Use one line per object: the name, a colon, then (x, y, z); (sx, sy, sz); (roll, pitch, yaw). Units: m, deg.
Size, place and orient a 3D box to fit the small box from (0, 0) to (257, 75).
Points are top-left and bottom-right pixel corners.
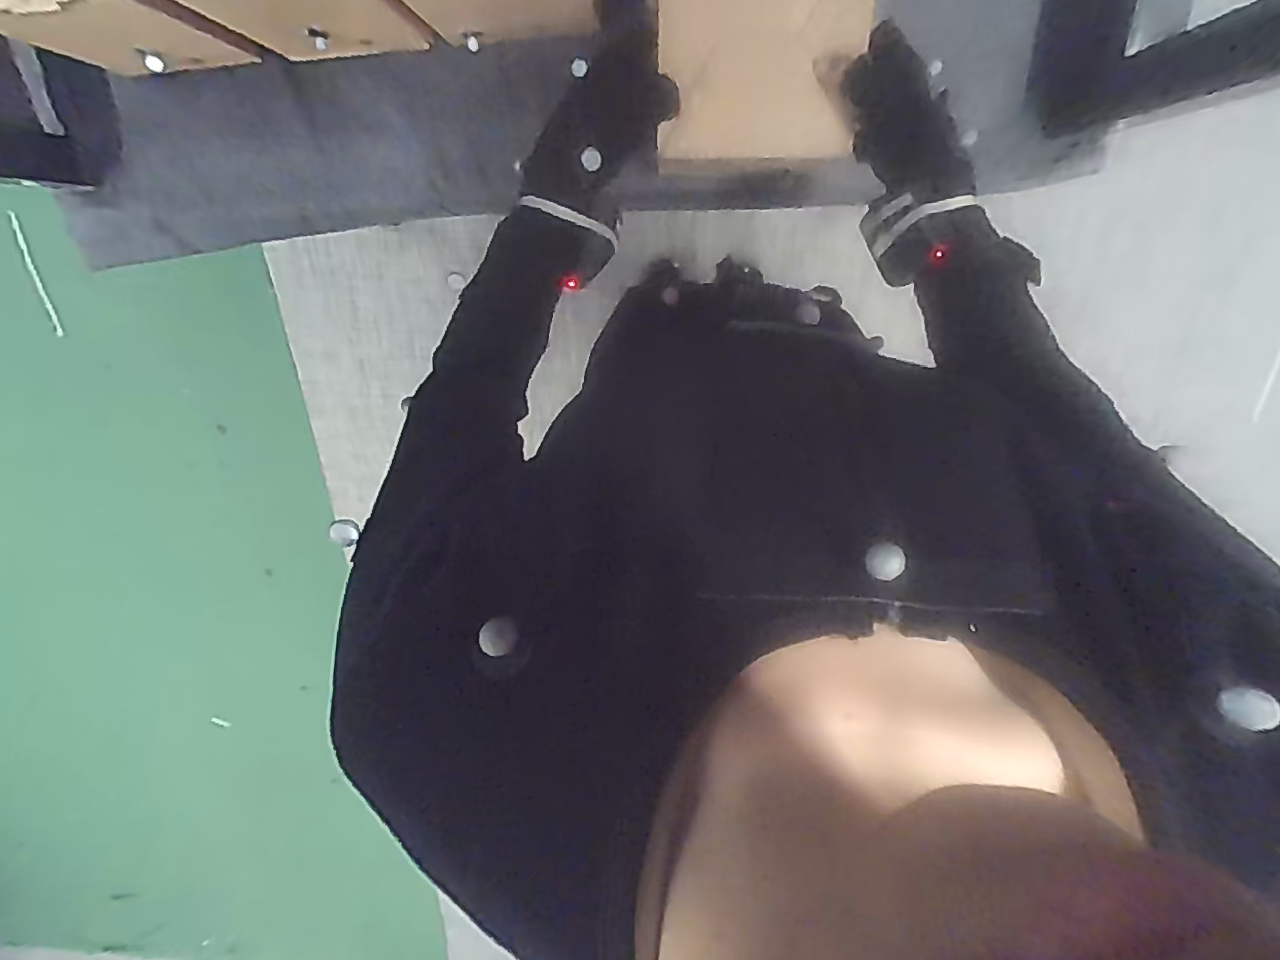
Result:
small box: (-0.504, -0.507, 0.493); (0.168, 0.176, 0.179); (-2, 112, 6)
